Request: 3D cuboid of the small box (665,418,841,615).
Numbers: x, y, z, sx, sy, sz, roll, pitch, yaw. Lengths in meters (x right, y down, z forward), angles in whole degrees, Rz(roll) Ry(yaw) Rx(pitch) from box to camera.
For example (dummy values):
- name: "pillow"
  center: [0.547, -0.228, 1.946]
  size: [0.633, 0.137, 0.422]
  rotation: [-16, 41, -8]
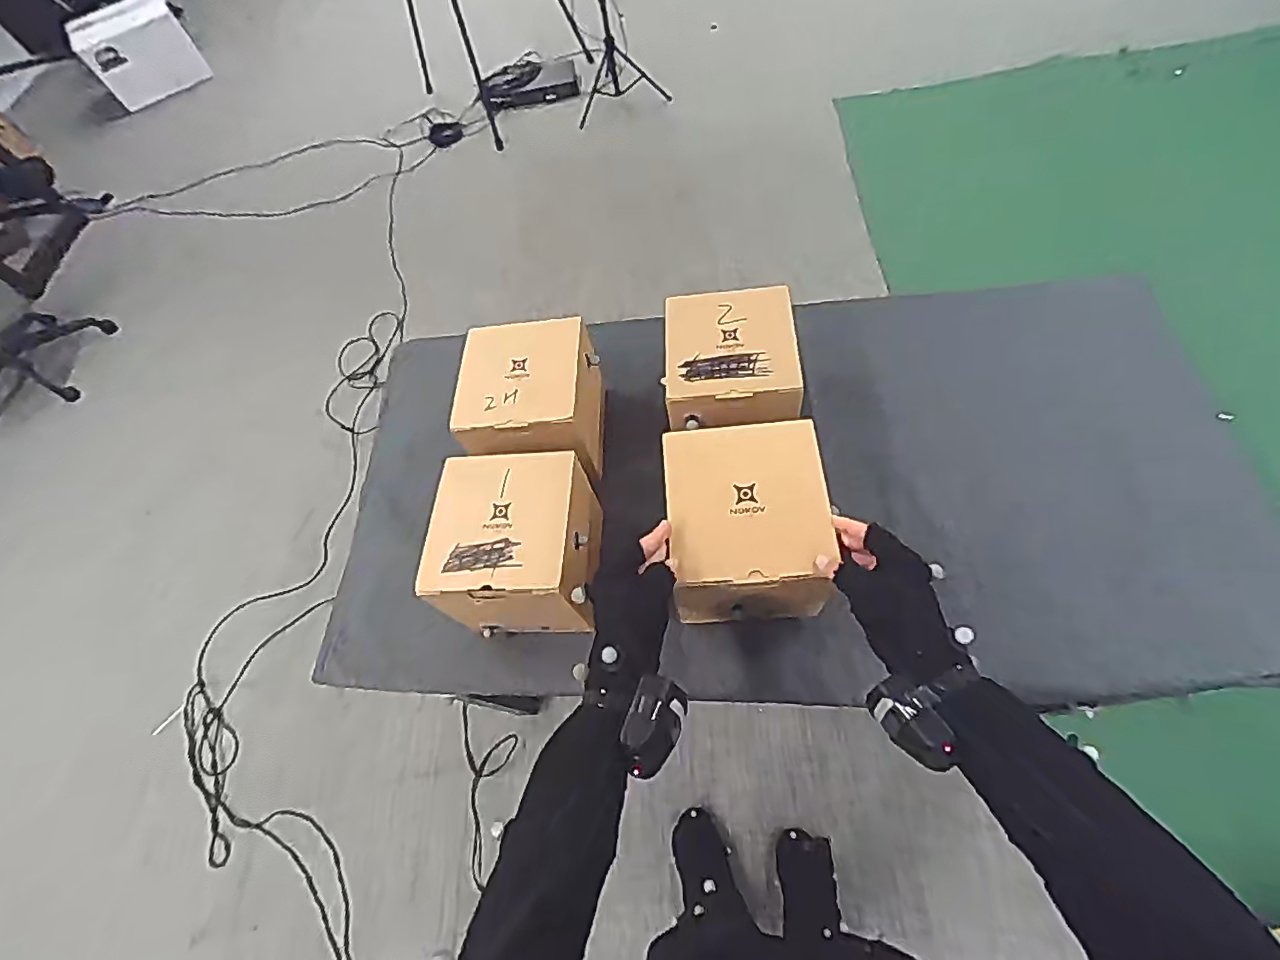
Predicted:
- name: "small box"
  center: [0.117, 0.050, 0.628]
  size: [0.168, 0.176, 0.179]
  rotation: [-5, 65, 5]
